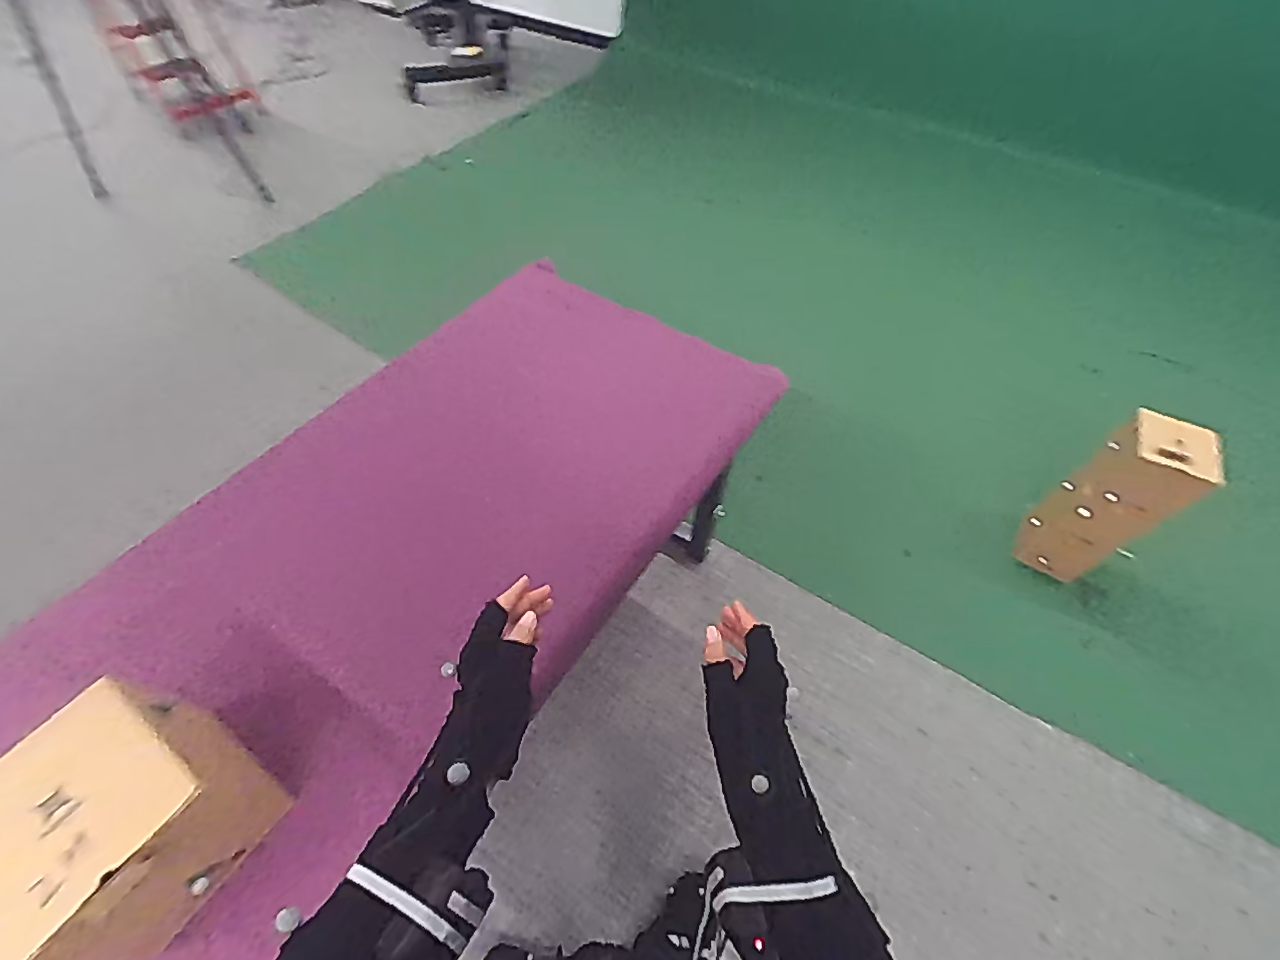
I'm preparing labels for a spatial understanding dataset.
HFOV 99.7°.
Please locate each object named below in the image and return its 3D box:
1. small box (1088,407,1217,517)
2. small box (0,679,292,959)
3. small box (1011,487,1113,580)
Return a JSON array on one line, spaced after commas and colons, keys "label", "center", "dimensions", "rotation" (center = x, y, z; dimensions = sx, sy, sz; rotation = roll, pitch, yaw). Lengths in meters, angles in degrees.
[{"label": "small box", "center": [1.241, -0.040, 1.323], "dimensions": [0.168, 0.176, 0.179], "rotation": [24, 57, 15]}, {"label": "small box", "center": [-0.507, 0.339, 0.544], "dimensions": [0.179, 0.176, 0.168], "rotation": [29, 60, 18]}, {"label": "small box", "center": [1.230, 0.159, 1.585], "dimensions": [0.168, 0.176, 0.179], "rotation": [29, 60, 18]}]
